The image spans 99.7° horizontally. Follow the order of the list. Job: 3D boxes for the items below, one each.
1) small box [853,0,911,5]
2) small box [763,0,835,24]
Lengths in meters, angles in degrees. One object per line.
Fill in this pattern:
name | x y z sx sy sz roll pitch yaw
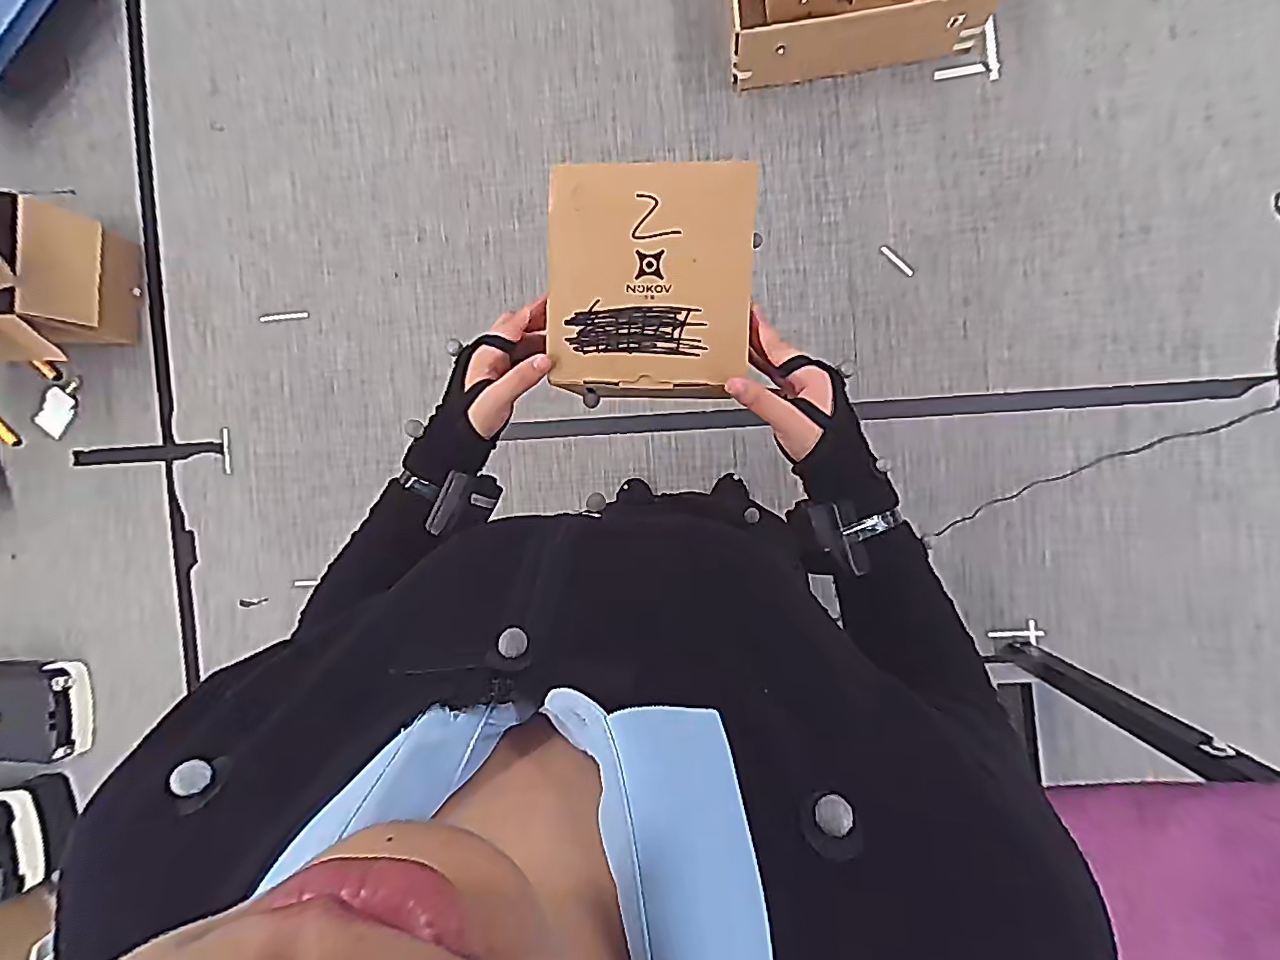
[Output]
small box | 0.607 -1.292 1.288 0.168 0.176 0.179 1 92 7
small box | 0.393 -1.255 1.308 0.168 0.176 0.179 -7 91 5
